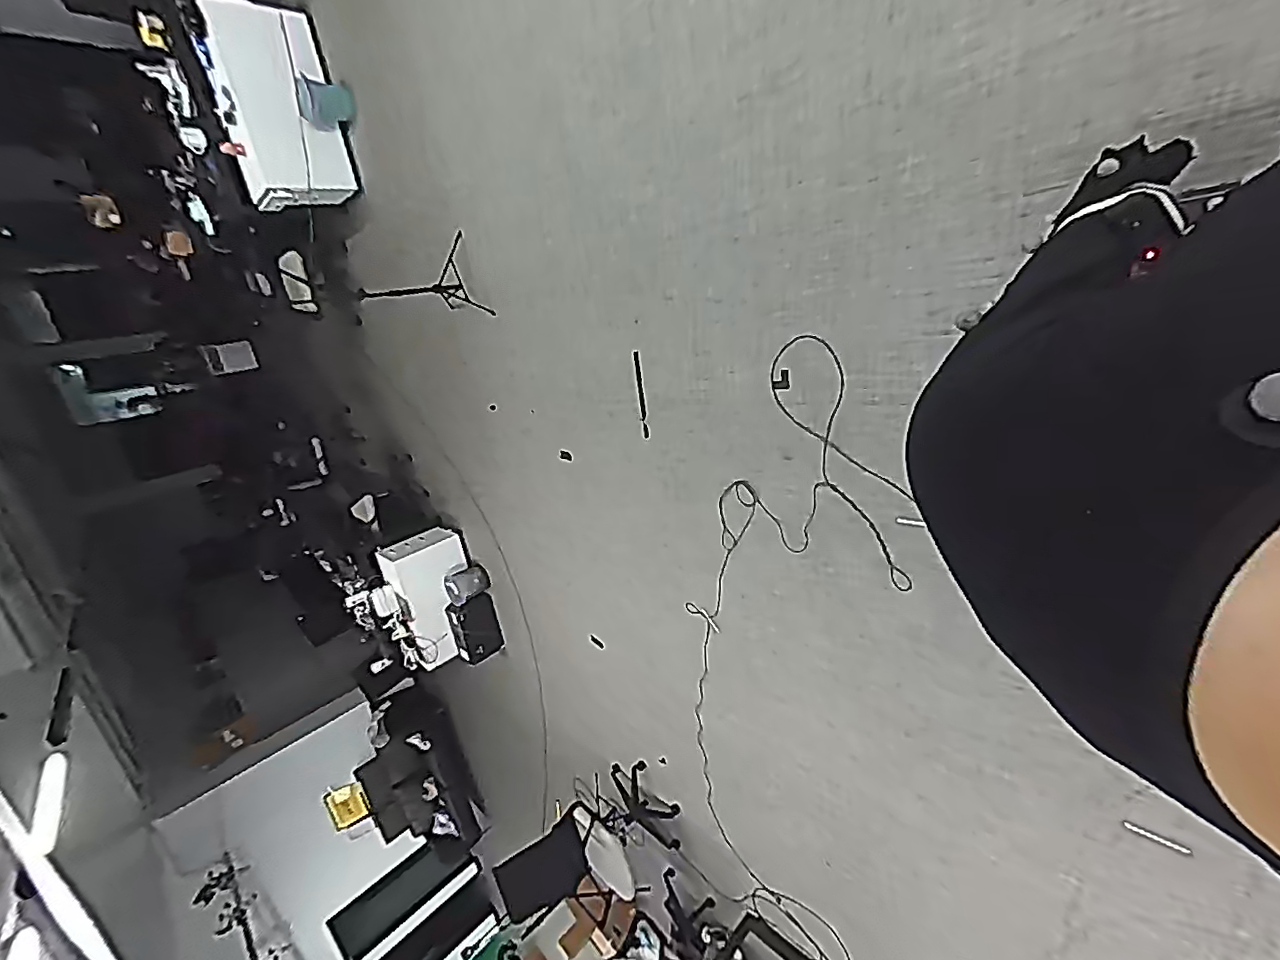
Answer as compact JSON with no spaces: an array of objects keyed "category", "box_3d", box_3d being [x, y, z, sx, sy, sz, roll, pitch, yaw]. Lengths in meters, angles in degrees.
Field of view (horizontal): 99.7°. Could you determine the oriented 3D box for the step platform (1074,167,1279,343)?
[{"category":"step platform","box_3d":[1.206,-0.419,0.958,0.684,0.204,0.286,7,114,45]}]
